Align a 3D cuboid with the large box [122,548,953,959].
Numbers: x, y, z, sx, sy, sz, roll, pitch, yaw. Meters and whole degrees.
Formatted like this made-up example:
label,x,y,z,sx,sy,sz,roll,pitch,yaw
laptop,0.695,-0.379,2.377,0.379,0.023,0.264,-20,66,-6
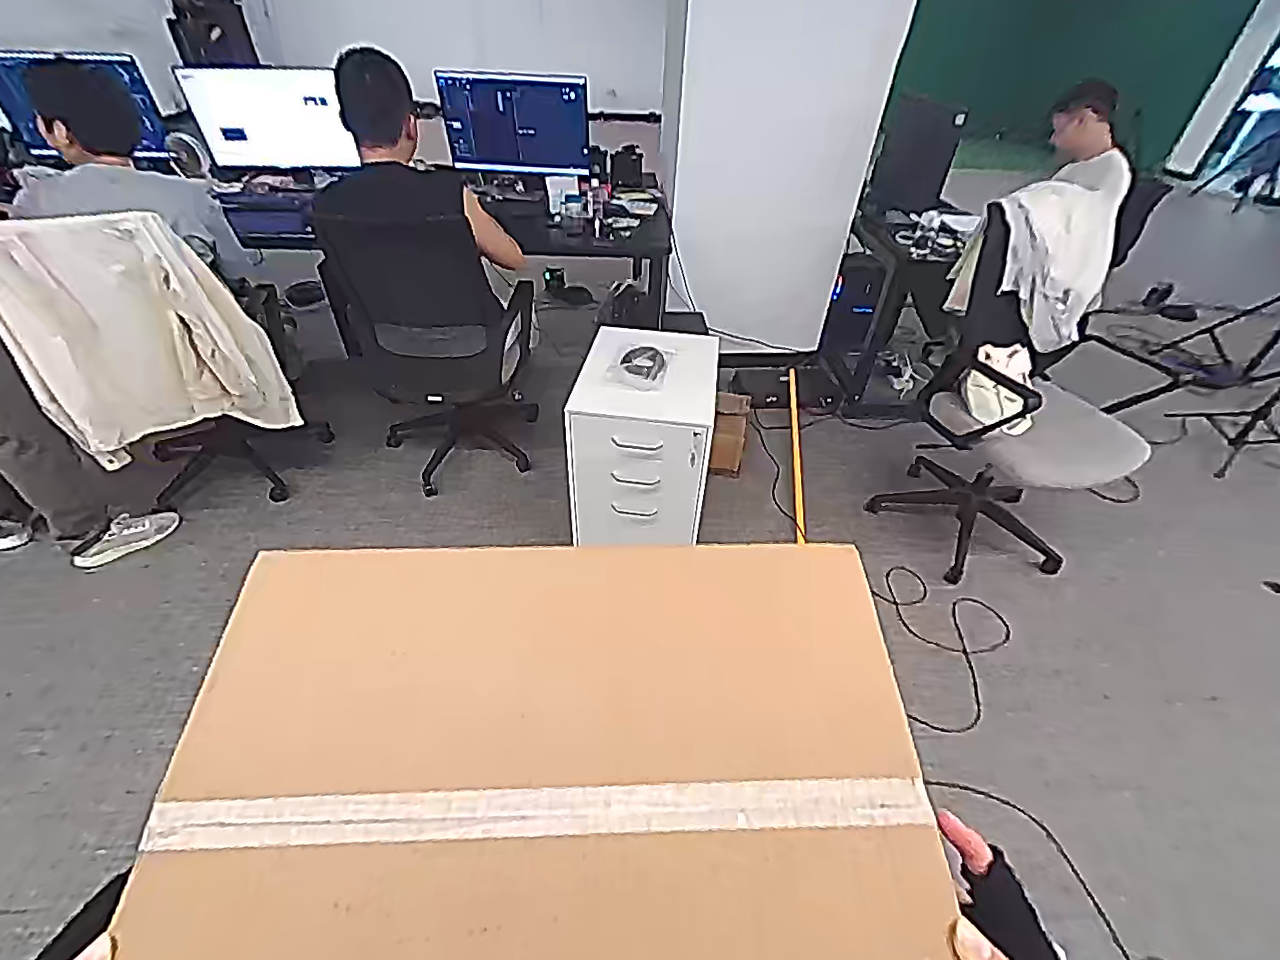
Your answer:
label,x,y,z,sx,sy,sz,roll,pitch,yaw
large box,-0.052,0.263,0.416,0.408,0.320,0.320,-1,56,-2
